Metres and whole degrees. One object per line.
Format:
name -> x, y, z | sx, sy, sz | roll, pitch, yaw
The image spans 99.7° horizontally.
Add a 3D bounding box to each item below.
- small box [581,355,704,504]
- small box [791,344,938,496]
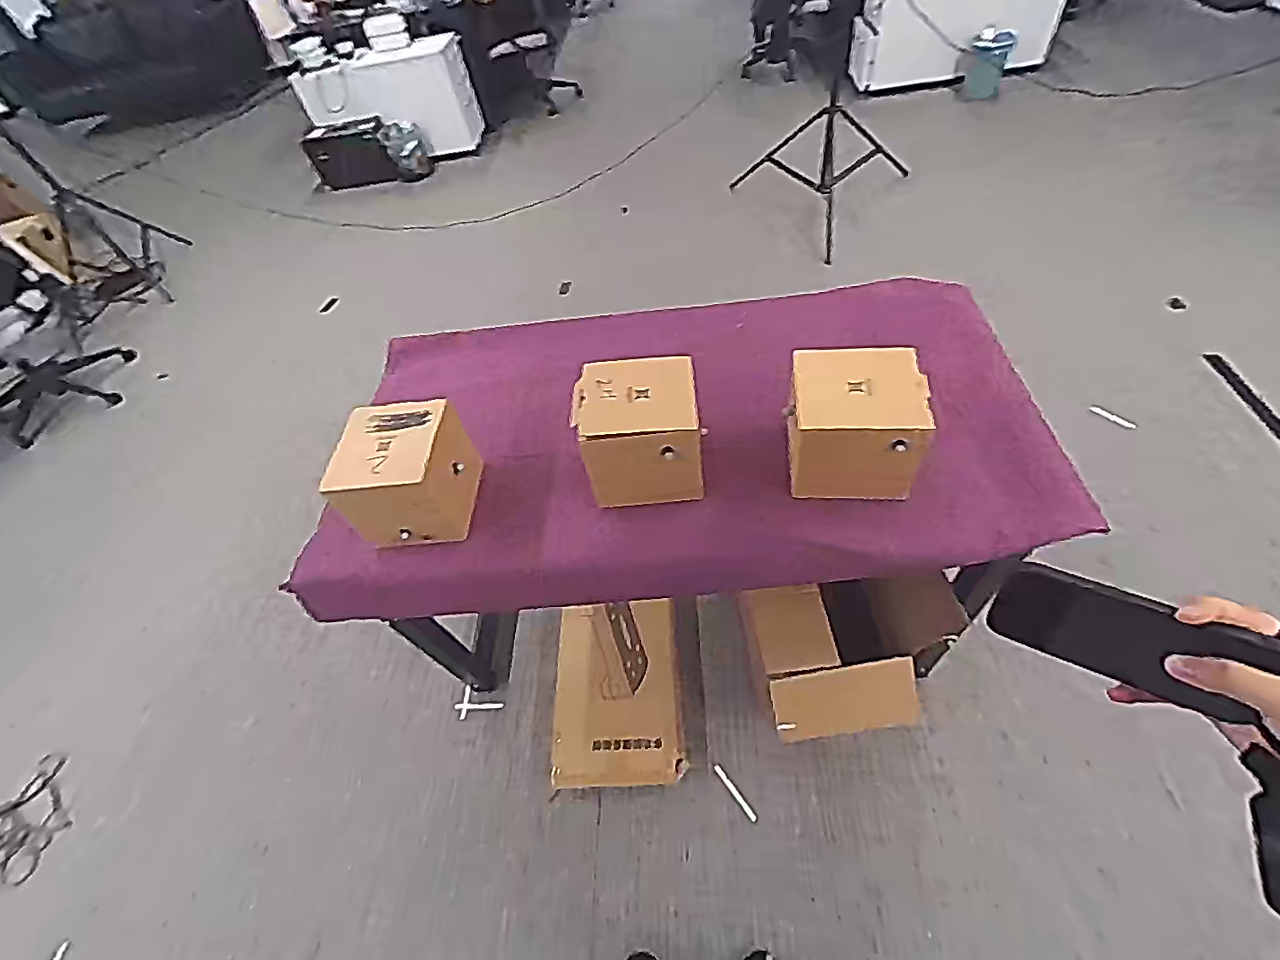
small box -> 0.012, -0.077, 0.878 | 0.179, 0.176, 0.168 | -6, 50, 6
small box -> 0.327, -0.087, 0.831 | 0.179, 0.176, 0.168 | 0, 53, 10
